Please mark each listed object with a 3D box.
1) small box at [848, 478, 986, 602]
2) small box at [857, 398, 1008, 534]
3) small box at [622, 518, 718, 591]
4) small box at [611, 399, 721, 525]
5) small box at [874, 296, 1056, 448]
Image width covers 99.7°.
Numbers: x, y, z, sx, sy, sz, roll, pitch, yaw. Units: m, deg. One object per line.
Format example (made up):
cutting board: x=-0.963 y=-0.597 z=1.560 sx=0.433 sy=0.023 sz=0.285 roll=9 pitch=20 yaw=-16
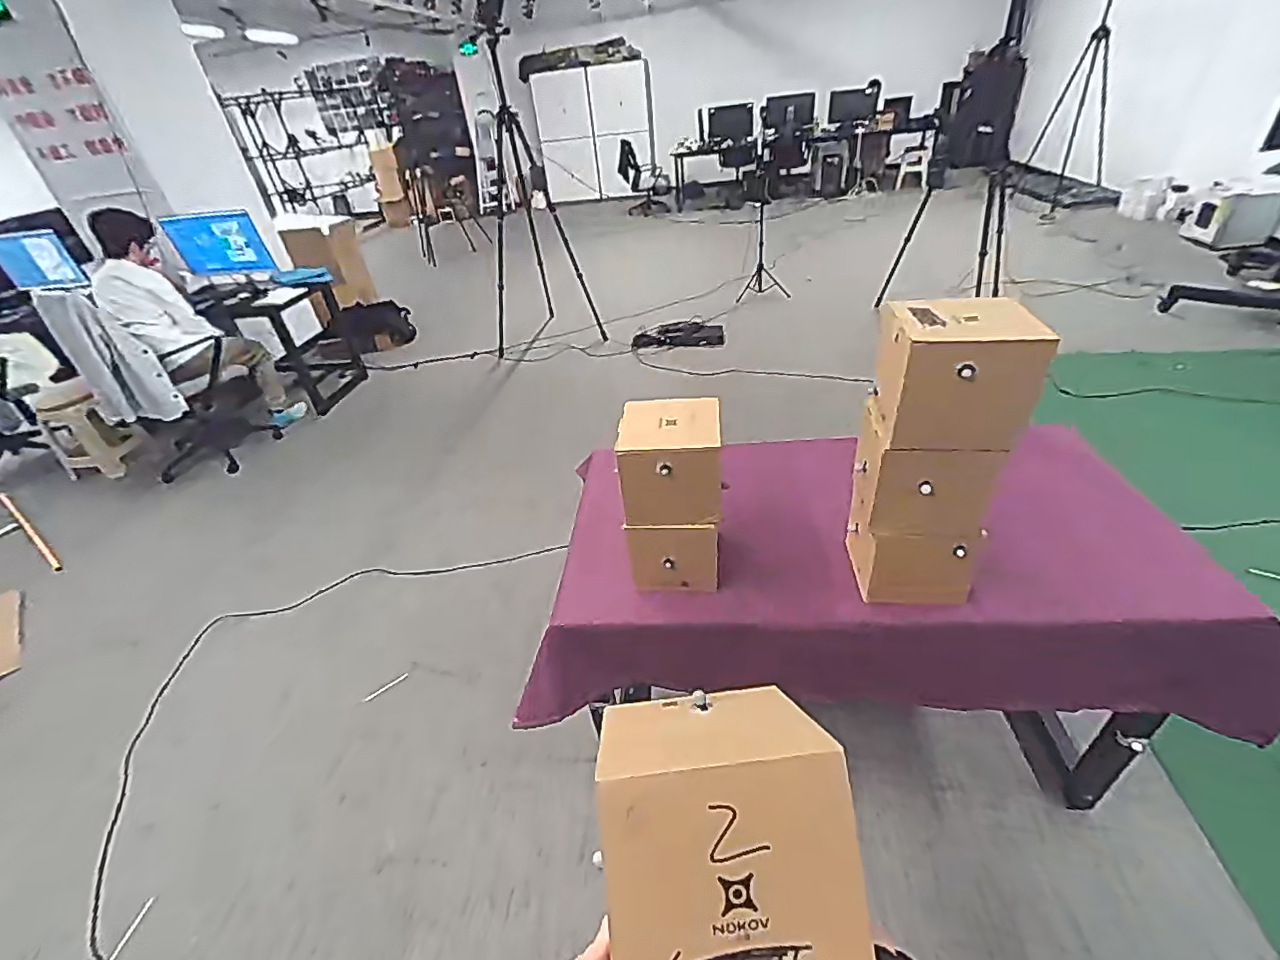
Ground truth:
small box: x=0.487 y=0.107 z=0.984 sx=0.179 sy=0.176 sz=0.168 roll=-2 pitch=36 yaw=8
small box: x=0.462 y=-0.025 z=0.890 sx=0.179 sy=0.176 sz=0.168 roll=0 pitch=37 yaw=12
small box: x=0.068 y=0.102 z=1.069 sx=0.168 sy=0.176 sz=0.179 roll=0 pitch=36 yaw=9
small box: x=0.055 y=-0.030 z=0.973 sx=0.179 sy=0.176 sz=0.168 roll=-1 pitch=37 yaw=8
small box: x=0.453 y=-0.157 z=0.791 sx=0.179 sy=0.176 sz=0.168 roll=2 pitch=36 yaw=11
